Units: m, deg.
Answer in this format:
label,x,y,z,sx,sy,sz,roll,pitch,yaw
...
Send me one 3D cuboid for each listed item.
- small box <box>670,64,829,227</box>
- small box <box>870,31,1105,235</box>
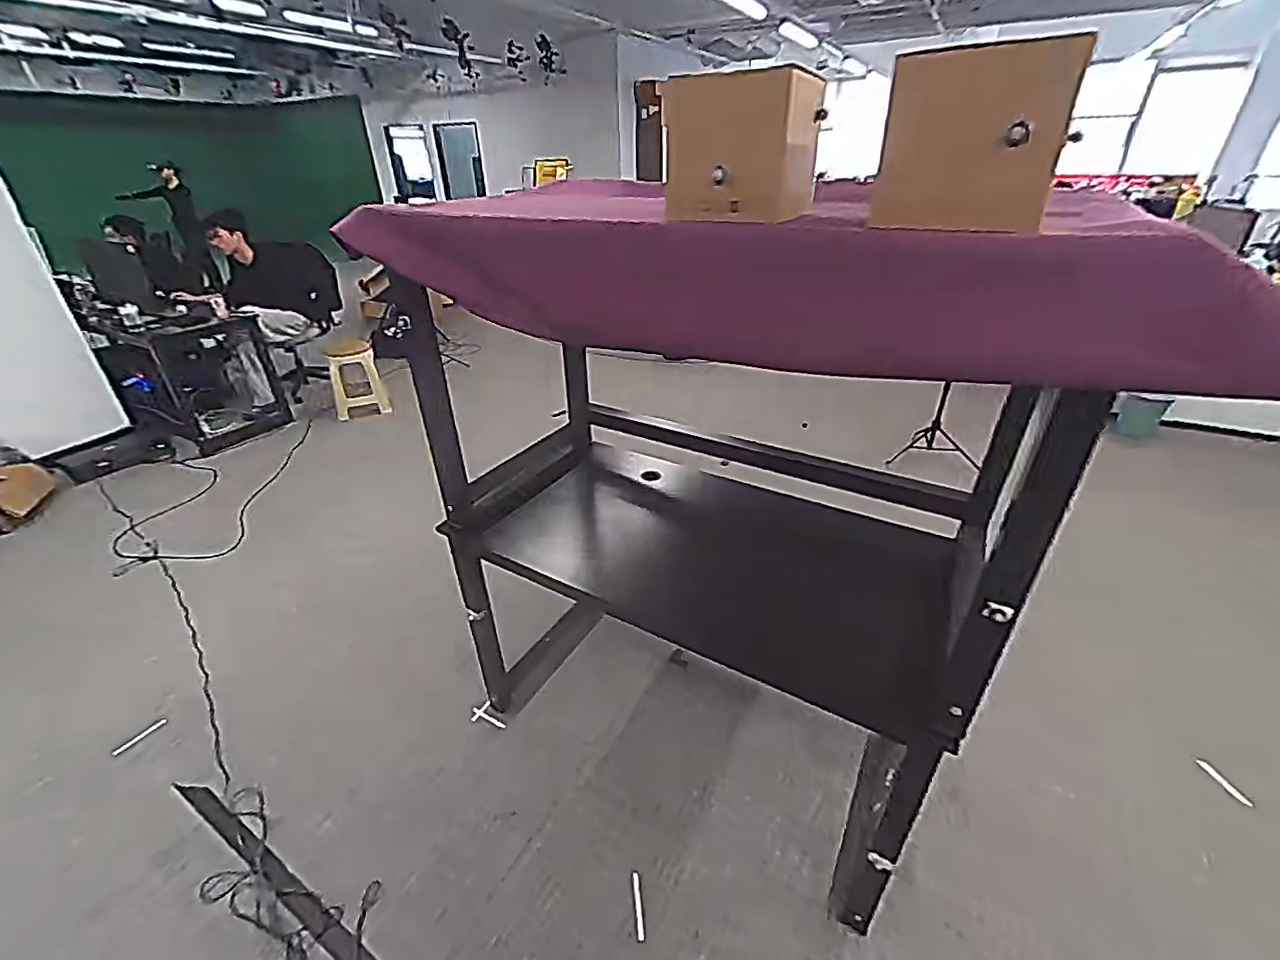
label,x,y,z,sx,sy,sz,roll,pitch,yaw
small box,0.147,-0.454,0.748,0.168,0.176,0.179,15,34,25
small box,0.381,-0.377,0.611,0.179,0.176,0.168,16,34,29
